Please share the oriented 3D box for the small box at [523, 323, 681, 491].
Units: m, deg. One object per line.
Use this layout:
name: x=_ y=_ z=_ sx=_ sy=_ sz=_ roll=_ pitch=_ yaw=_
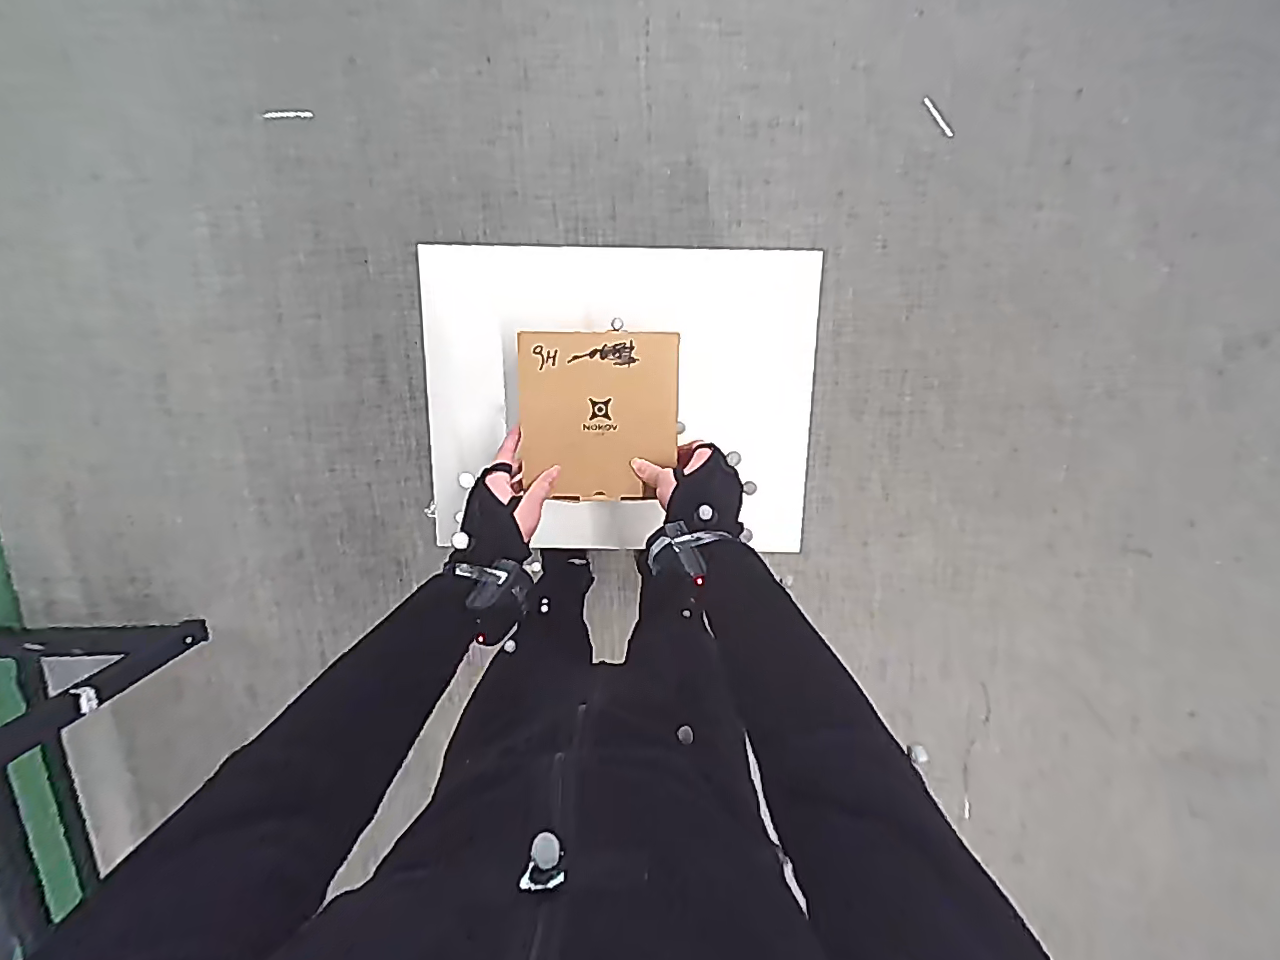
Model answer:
small box: x=-0.036 y=-0.090 z=0.648 sx=0.168 sy=0.176 sz=0.179 roll=-2 pitch=101 yaw=1
